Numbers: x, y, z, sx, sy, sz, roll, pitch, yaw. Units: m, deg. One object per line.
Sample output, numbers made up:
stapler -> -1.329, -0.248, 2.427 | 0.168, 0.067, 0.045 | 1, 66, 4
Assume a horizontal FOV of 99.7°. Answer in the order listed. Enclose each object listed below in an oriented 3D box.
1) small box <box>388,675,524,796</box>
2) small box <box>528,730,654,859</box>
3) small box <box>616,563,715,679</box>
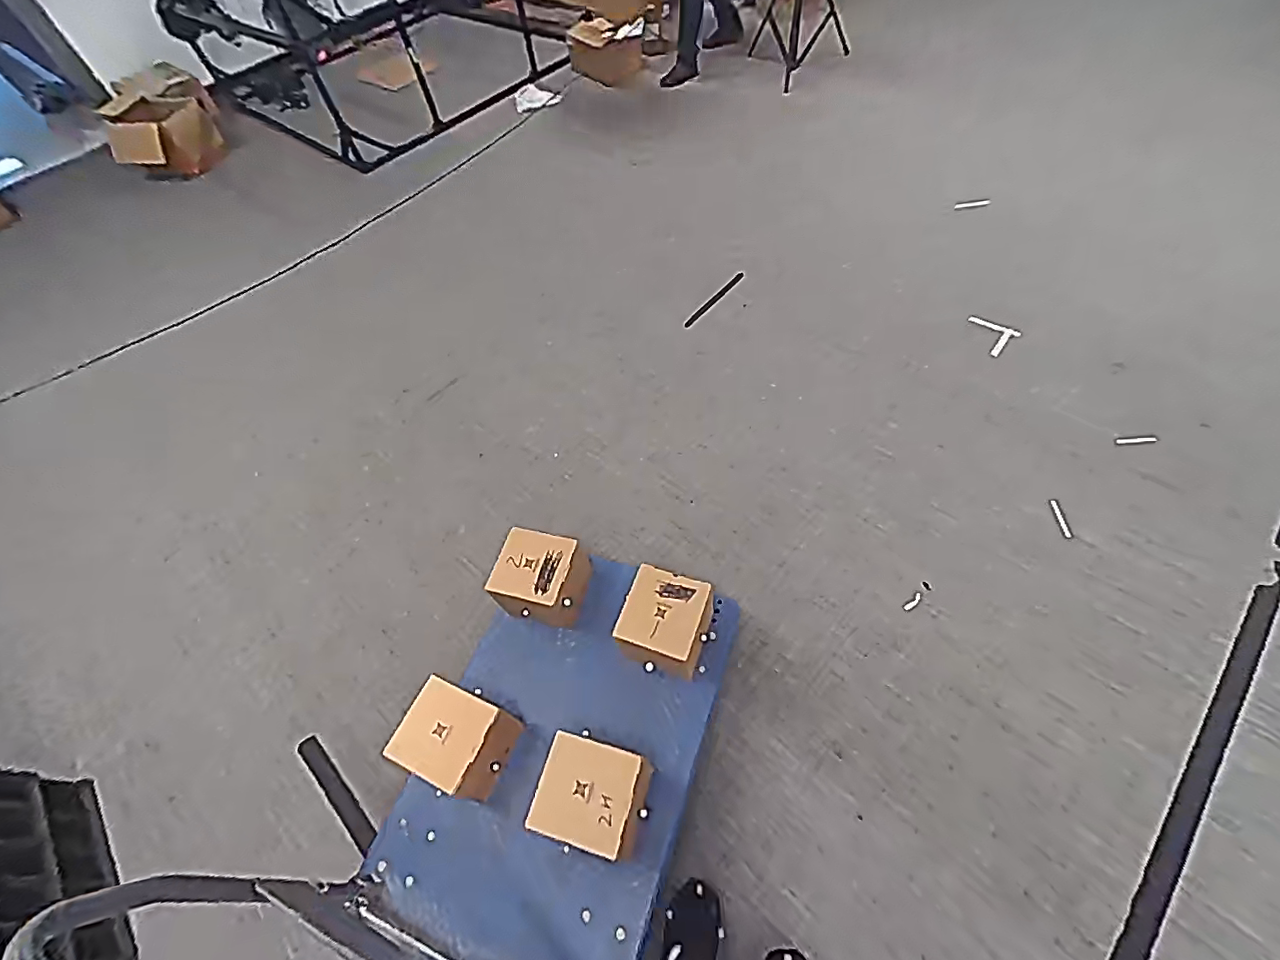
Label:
small box -> -0.371, 0.535, 1.123 | 0.179, 0.176, 0.168 | 17, 60, 18
small box -> -0.083, 0.601, 1.032 | 0.179, 0.176, 0.168 | 10, 58, 15
small box -> 0.064, 0.317, 1.203 | 0.168, 0.176, 0.179 | 15, 60, 18
